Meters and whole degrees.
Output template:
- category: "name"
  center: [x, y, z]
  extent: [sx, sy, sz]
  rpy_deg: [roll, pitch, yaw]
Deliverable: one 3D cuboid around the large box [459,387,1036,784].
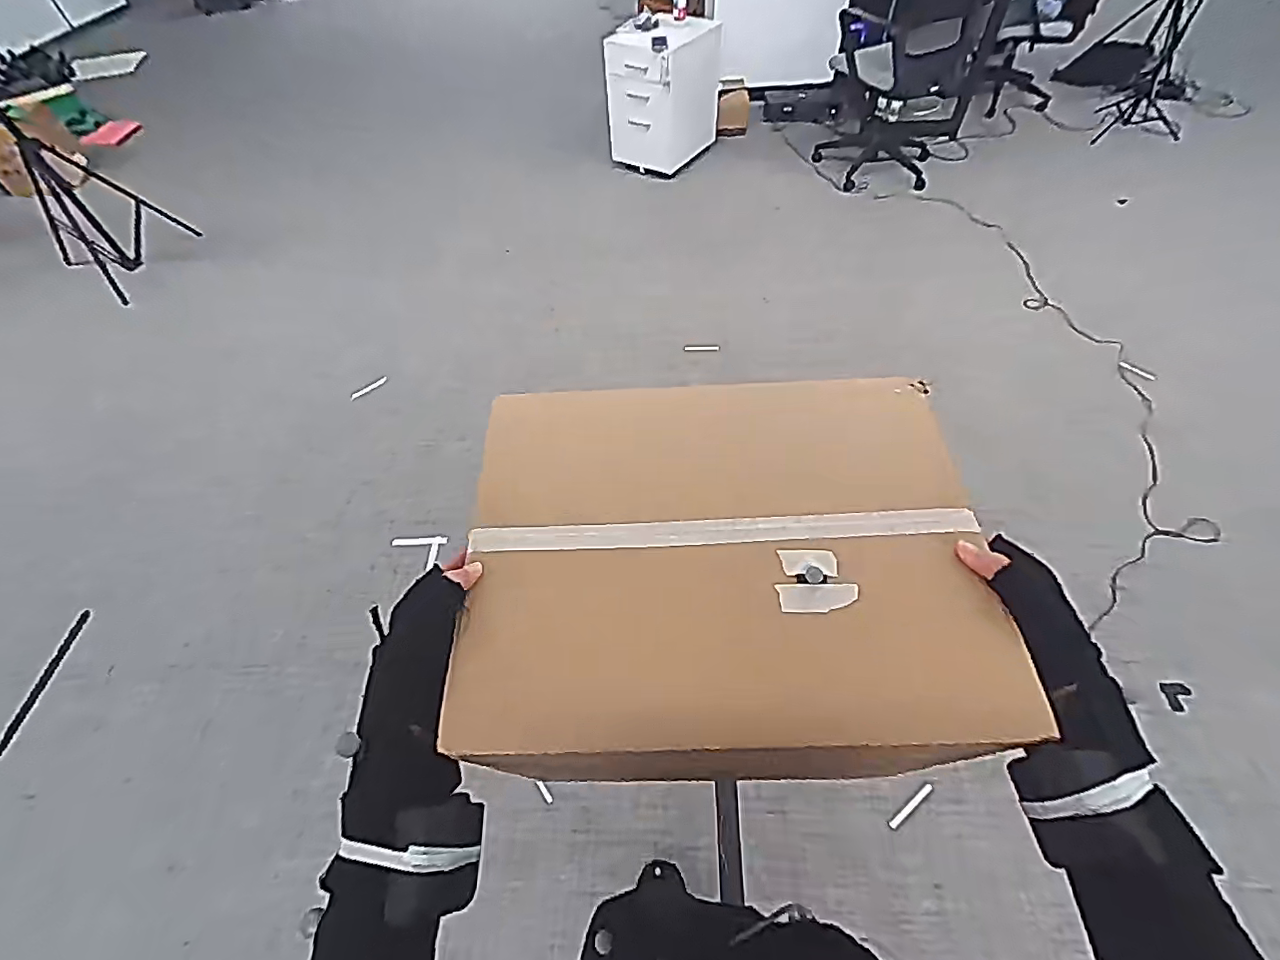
- category: "large box"
  center: [0.071, 0.129, 0.571]
  extent: [0.408, 0.320, 0.320]
  rpy_deg: [-3, 59, 2]
